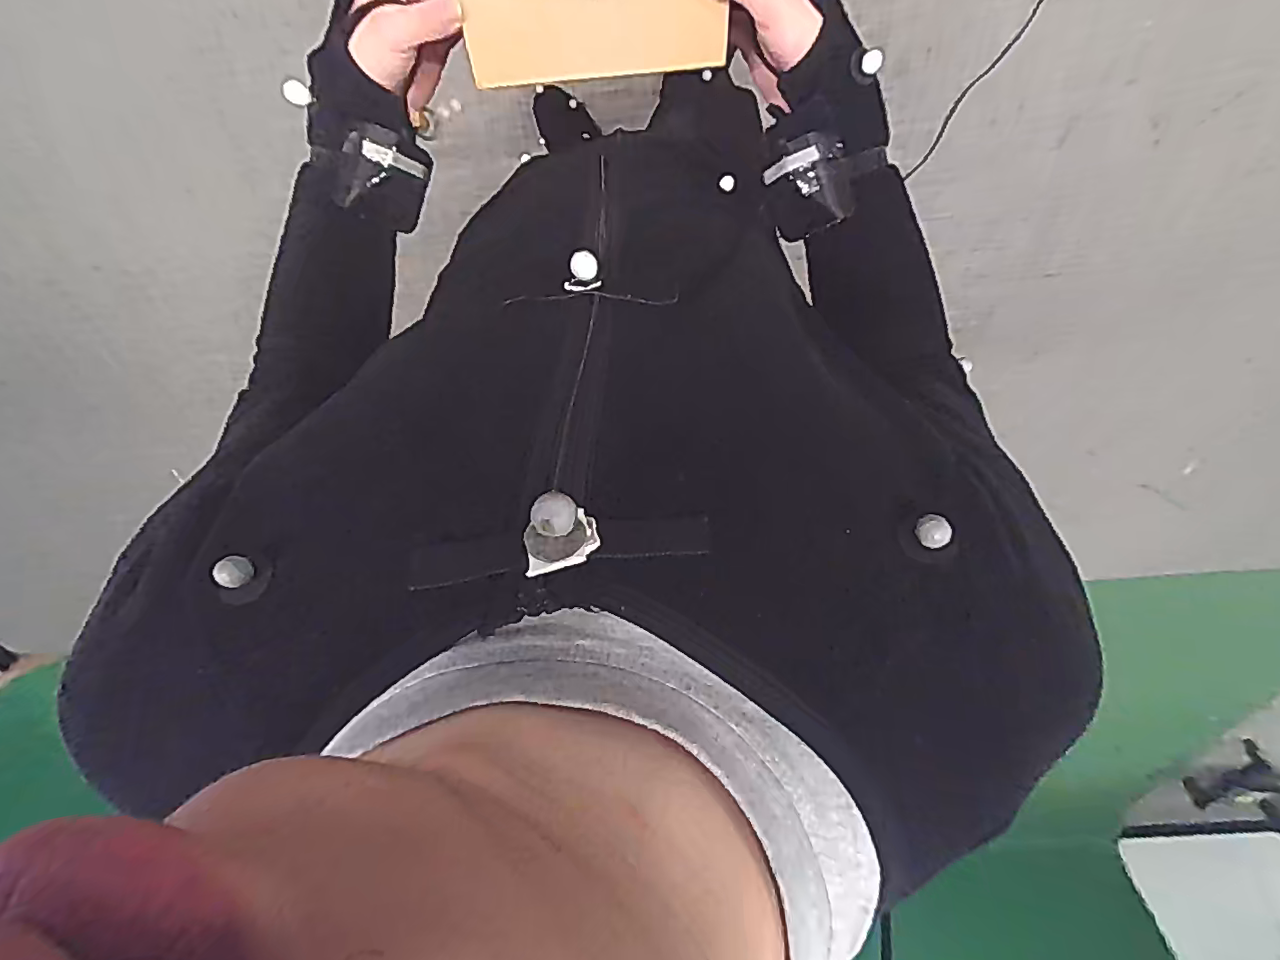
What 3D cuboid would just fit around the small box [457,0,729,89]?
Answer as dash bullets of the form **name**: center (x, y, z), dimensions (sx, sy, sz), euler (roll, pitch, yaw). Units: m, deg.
- **small box**: center (-0.038, -0.377, 0.342), dimensions (0.168, 0.176, 0.179), euler (-7, 138, -2)
